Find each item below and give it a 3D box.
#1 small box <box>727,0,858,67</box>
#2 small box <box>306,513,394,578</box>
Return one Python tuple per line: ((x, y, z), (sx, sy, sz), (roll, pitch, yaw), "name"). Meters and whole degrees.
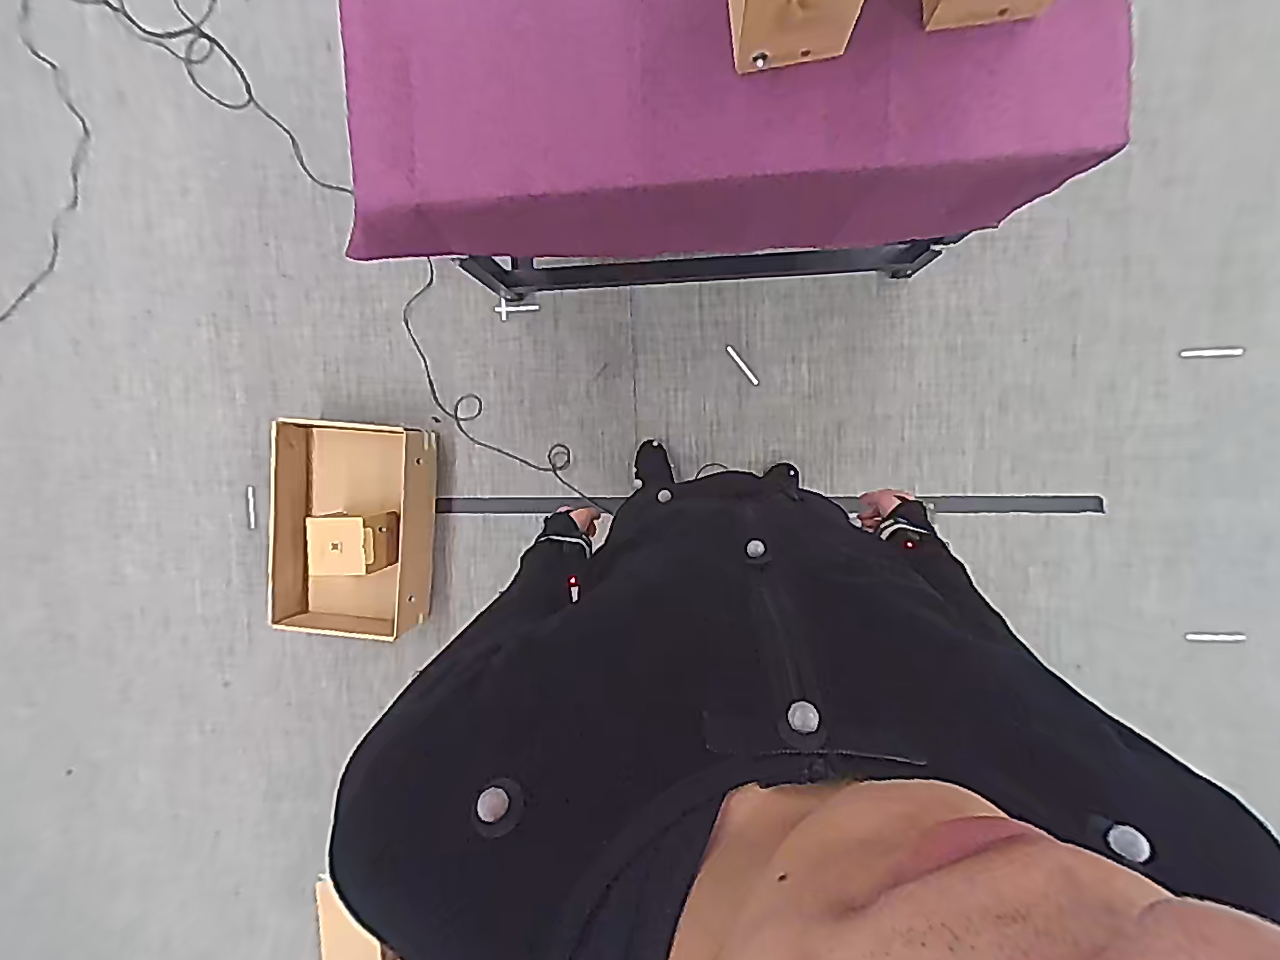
((0.213, -0.722, 0.758), (0.168, 0.176, 0.179), (-7, 92, 5), "small box")
((-0.845, 0.188, 1.593), (0.179, 0.176, 0.168), (-1, 92, 5), "small box")
